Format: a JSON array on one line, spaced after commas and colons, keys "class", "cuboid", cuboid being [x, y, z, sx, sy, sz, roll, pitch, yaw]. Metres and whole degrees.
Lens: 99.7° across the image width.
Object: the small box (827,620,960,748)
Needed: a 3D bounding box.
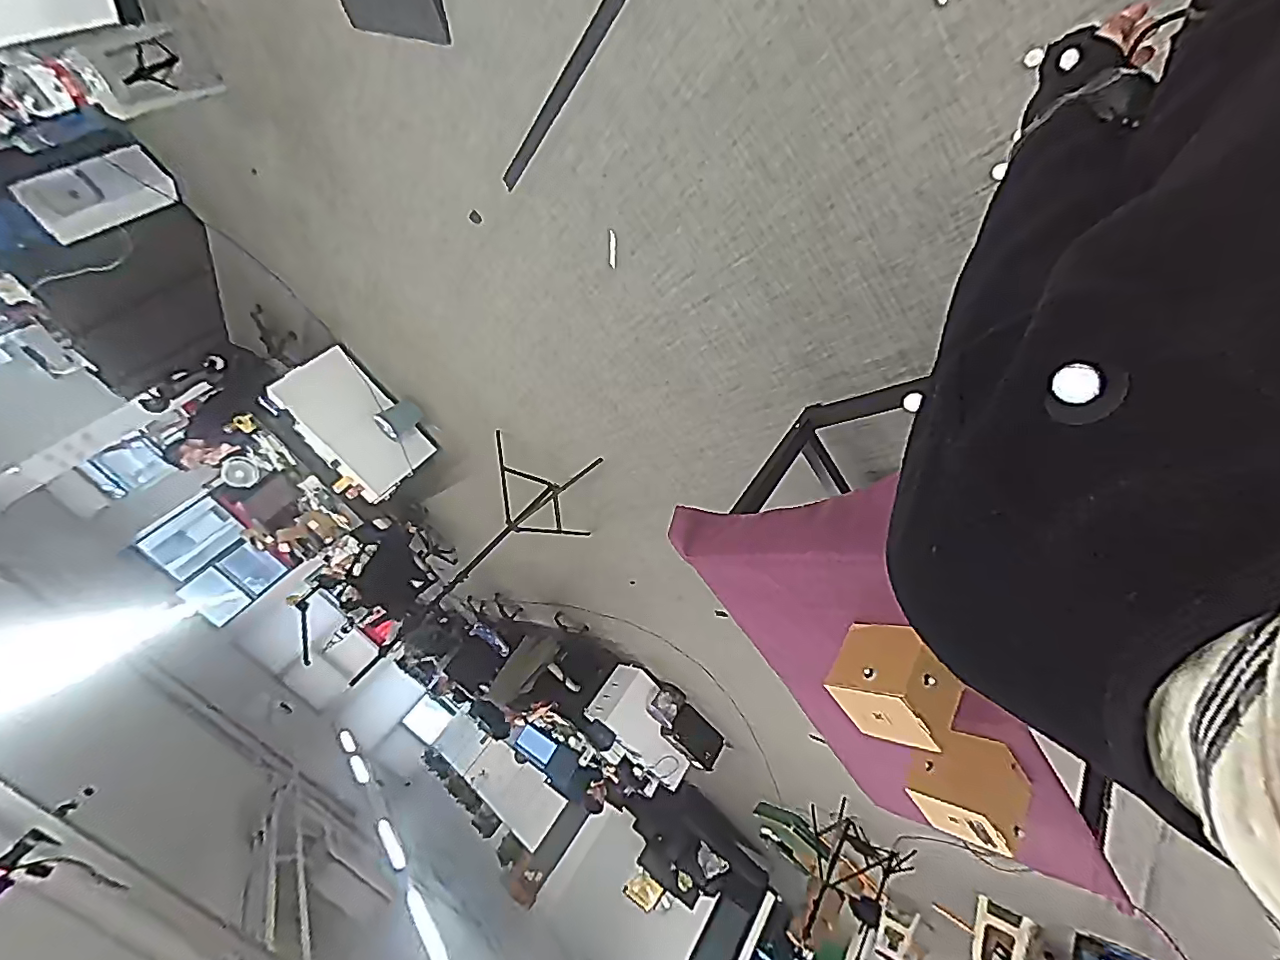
[{"class": "small box", "cuboid": [0.524, 0.406, 1.106, 0.168, 0.176, 0.179, 51, 149, -15]}]
